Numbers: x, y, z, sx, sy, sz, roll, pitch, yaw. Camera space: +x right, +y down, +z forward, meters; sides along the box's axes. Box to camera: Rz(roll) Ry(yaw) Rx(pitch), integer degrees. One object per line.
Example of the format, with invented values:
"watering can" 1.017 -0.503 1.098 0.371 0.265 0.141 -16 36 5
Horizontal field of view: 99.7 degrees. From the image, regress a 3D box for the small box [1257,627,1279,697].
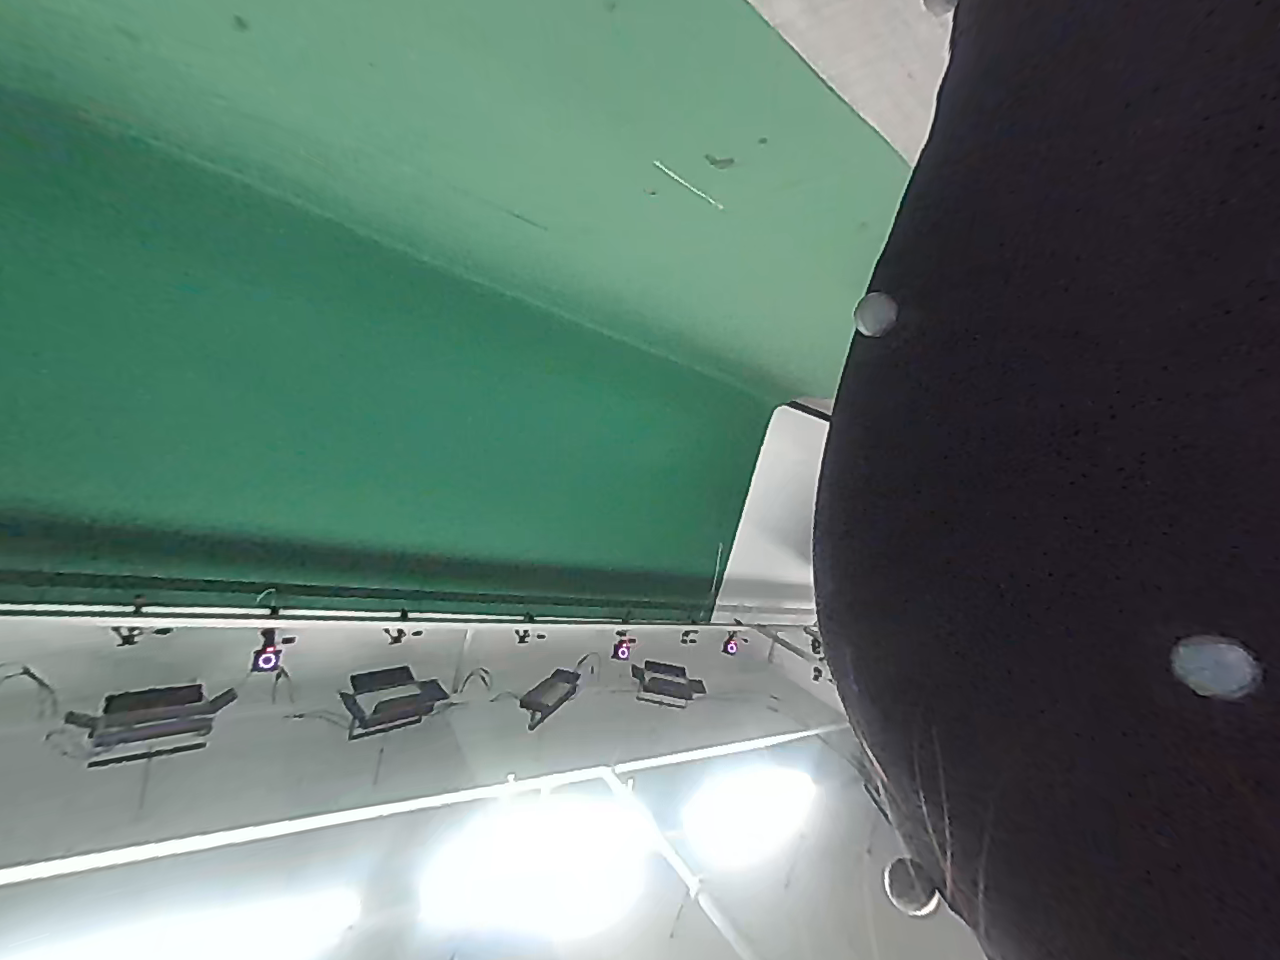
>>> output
"small box" 1.685 0.477 1.326 0.168 0.176 0.179 14 -175 -31
